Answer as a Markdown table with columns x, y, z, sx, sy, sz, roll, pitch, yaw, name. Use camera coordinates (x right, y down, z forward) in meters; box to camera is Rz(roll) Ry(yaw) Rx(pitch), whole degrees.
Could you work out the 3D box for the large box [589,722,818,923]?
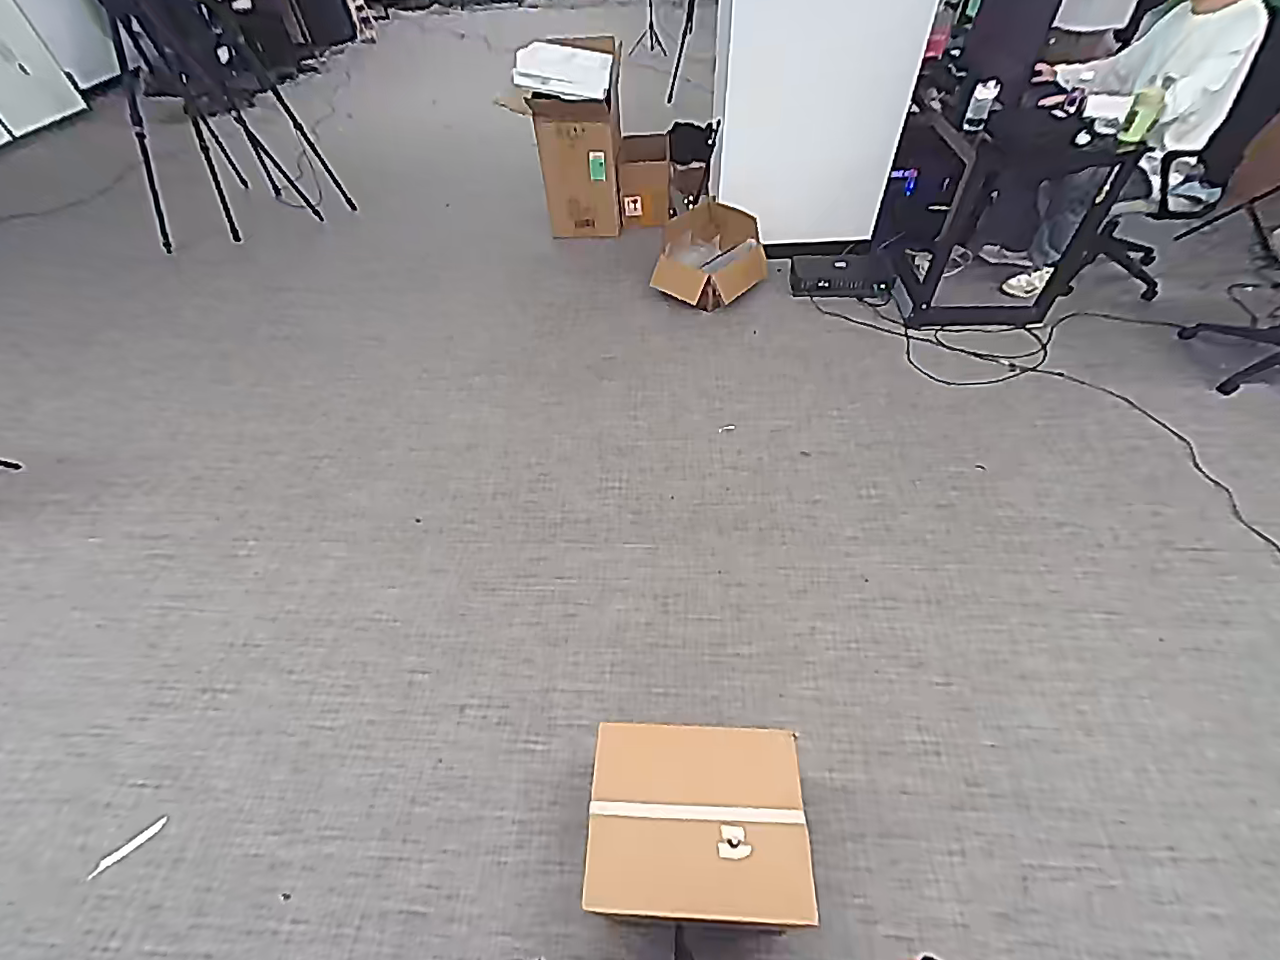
| x | y | z | sx | sy | sz | roll | pitch | yaw | name |
| --- | --- | --- | --- | --- | --- | --- | --- | --- | --- |
| 0.116 | 0.723 | 1.137 | 0.408 | 0.320 | 0.320 | 1 | 50 | 3 | large box |
